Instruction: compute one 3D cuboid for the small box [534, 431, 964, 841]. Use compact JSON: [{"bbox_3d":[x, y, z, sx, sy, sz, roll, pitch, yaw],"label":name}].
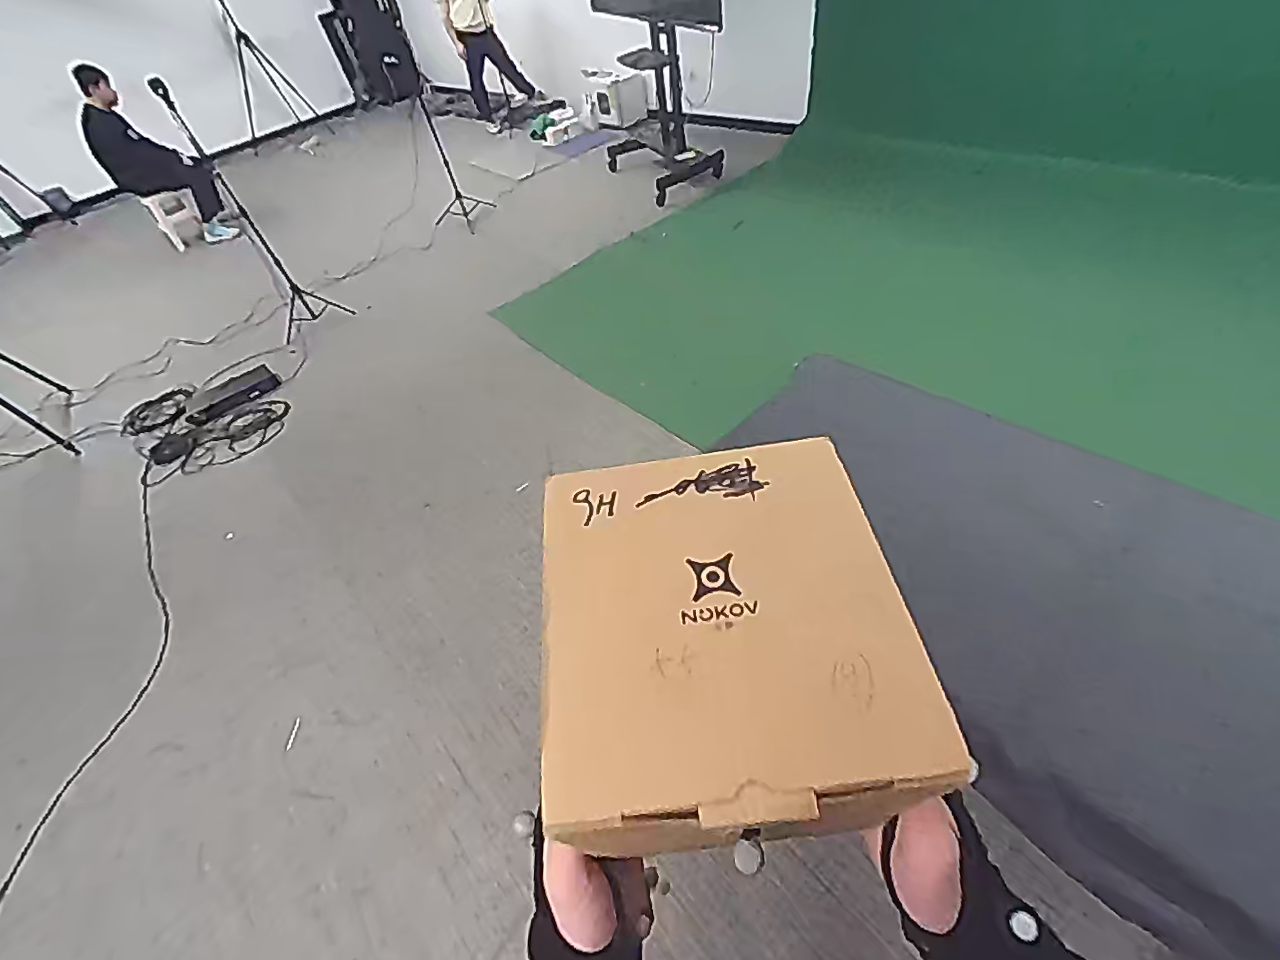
[{"bbox_3d":[0.041,0.098,0.314,0.168,0.176,0.179,-6,52,0],"label":"small box"}]
